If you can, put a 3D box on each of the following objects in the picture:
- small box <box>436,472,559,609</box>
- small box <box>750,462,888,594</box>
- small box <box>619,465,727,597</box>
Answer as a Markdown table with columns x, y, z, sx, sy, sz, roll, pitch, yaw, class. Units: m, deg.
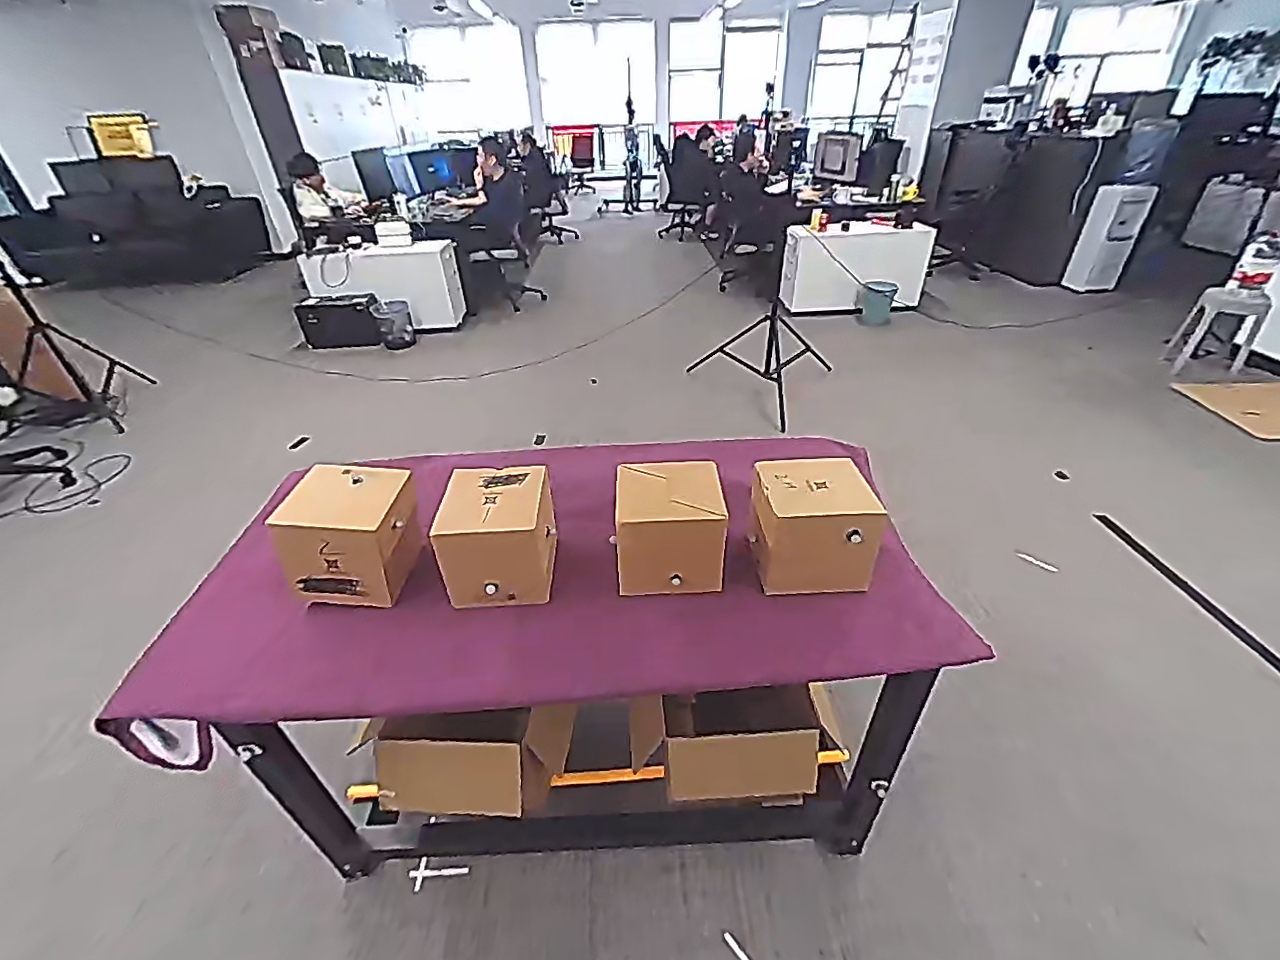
| x | y | z | sx | sy | sz | roll | pitch | yaw | class |
| --- | --- | --- | --- | --- | --- | --- | --- | --- | --- |
| -0.236 | 0.103 | 0.948 | 0.168 | 0.176 | 0.179 | -3 | 35 | -1 | small box |
| 0.298 | 0.083 | 0.942 | 0.179 | 0.176 | 0.168 | -2 | 32 | 0 | small box |
| 0.052 | 0.085 | 0.950 | 0.179 | 0.176 | 0.168 | -3 | 33 | 1 | small box |
